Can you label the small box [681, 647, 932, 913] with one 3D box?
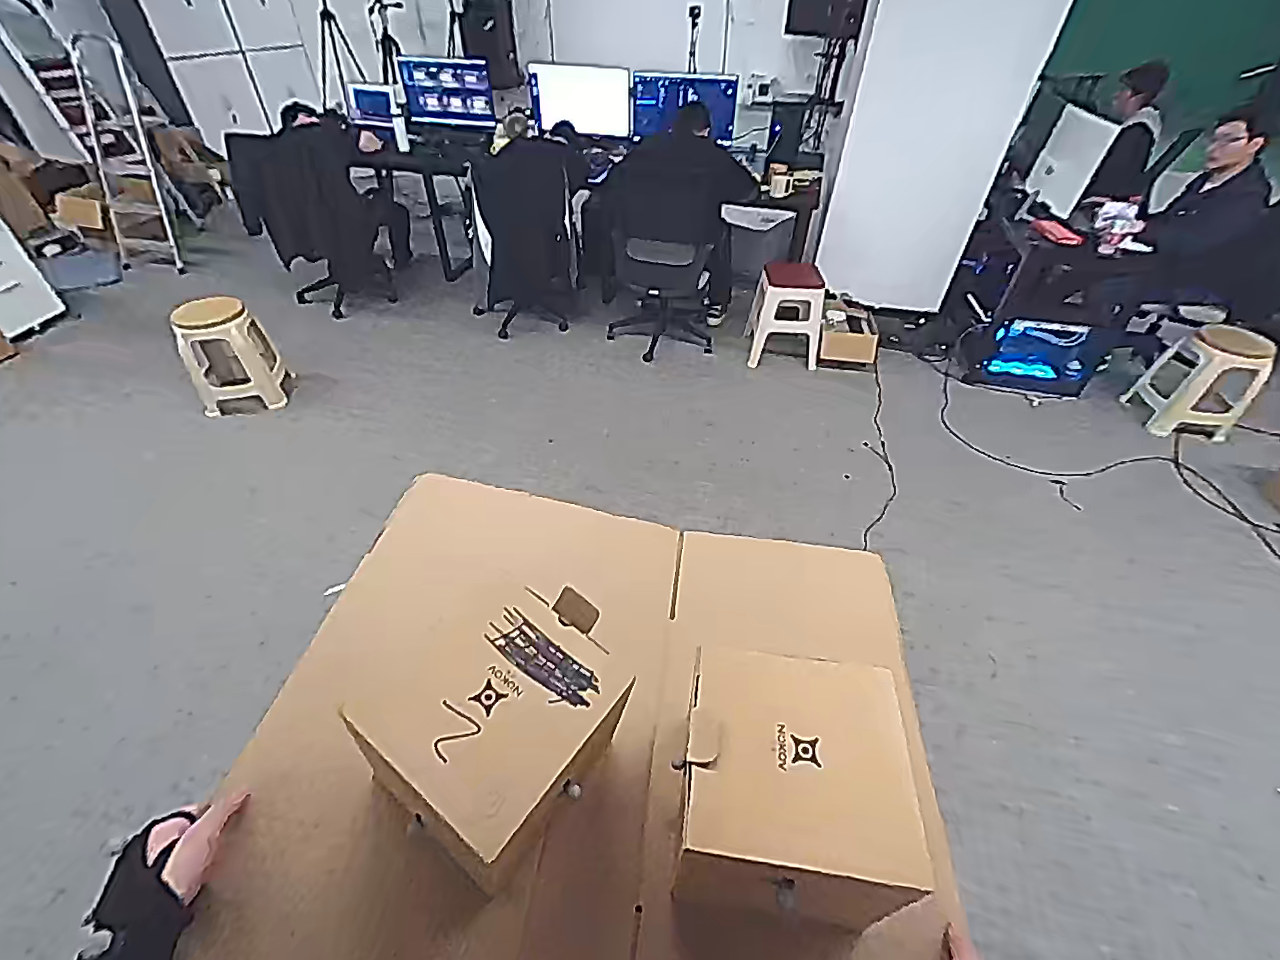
[{"bbox_3d":[0.136,0.281,0.506,0.179,0.176,0.168,5,44,6],"label":"small box"}]
